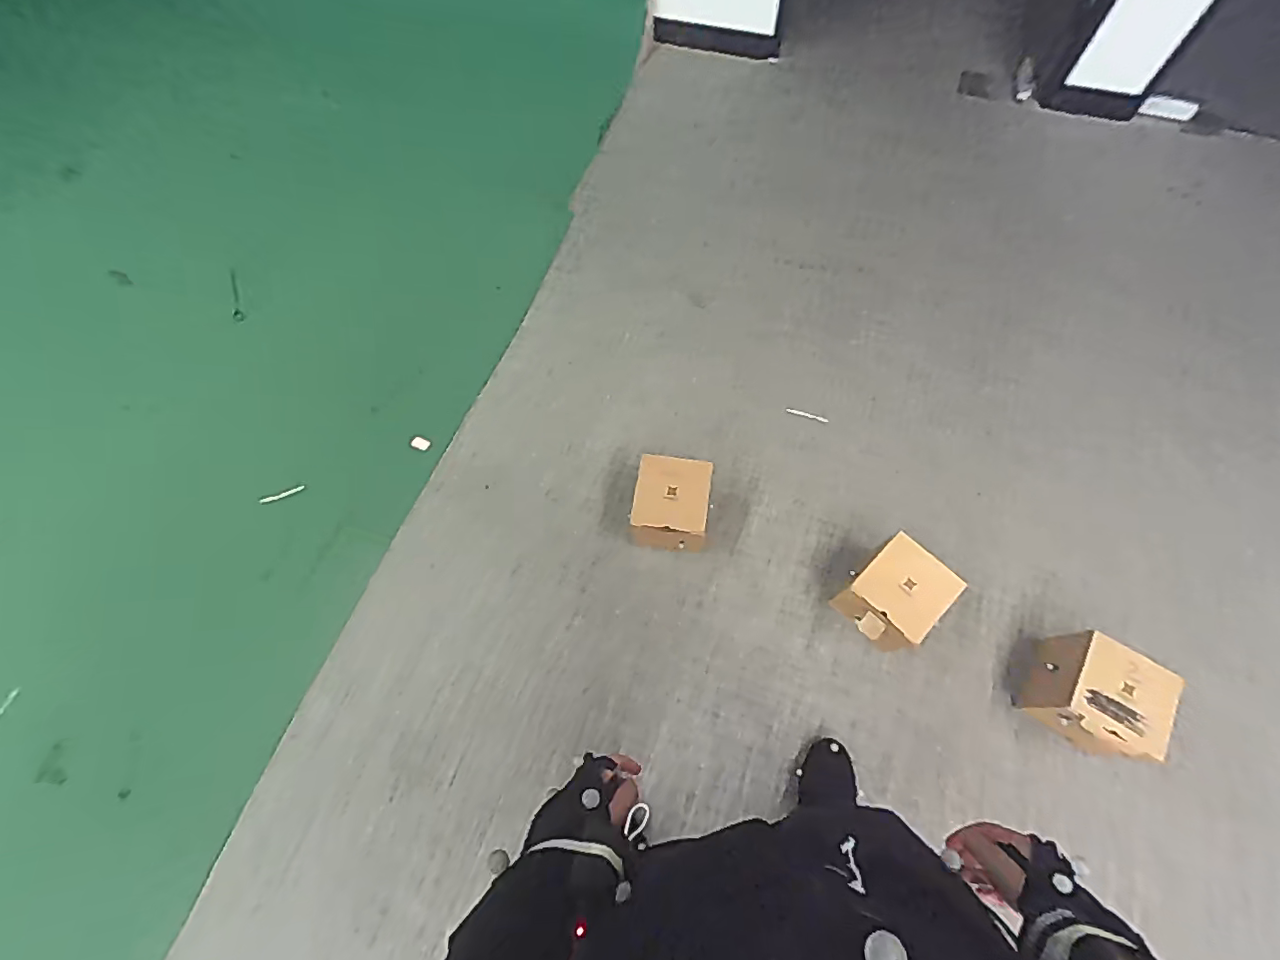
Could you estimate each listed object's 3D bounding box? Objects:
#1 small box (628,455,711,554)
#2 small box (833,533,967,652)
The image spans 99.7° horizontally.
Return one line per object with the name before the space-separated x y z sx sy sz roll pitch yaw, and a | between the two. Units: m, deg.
small box | 0.070 0.063 1.262 0.168 0.176 0.179 8 66 4
small box | 0.547 0.246 1.165 0.179 0.176 0.168 -43 73 -14
